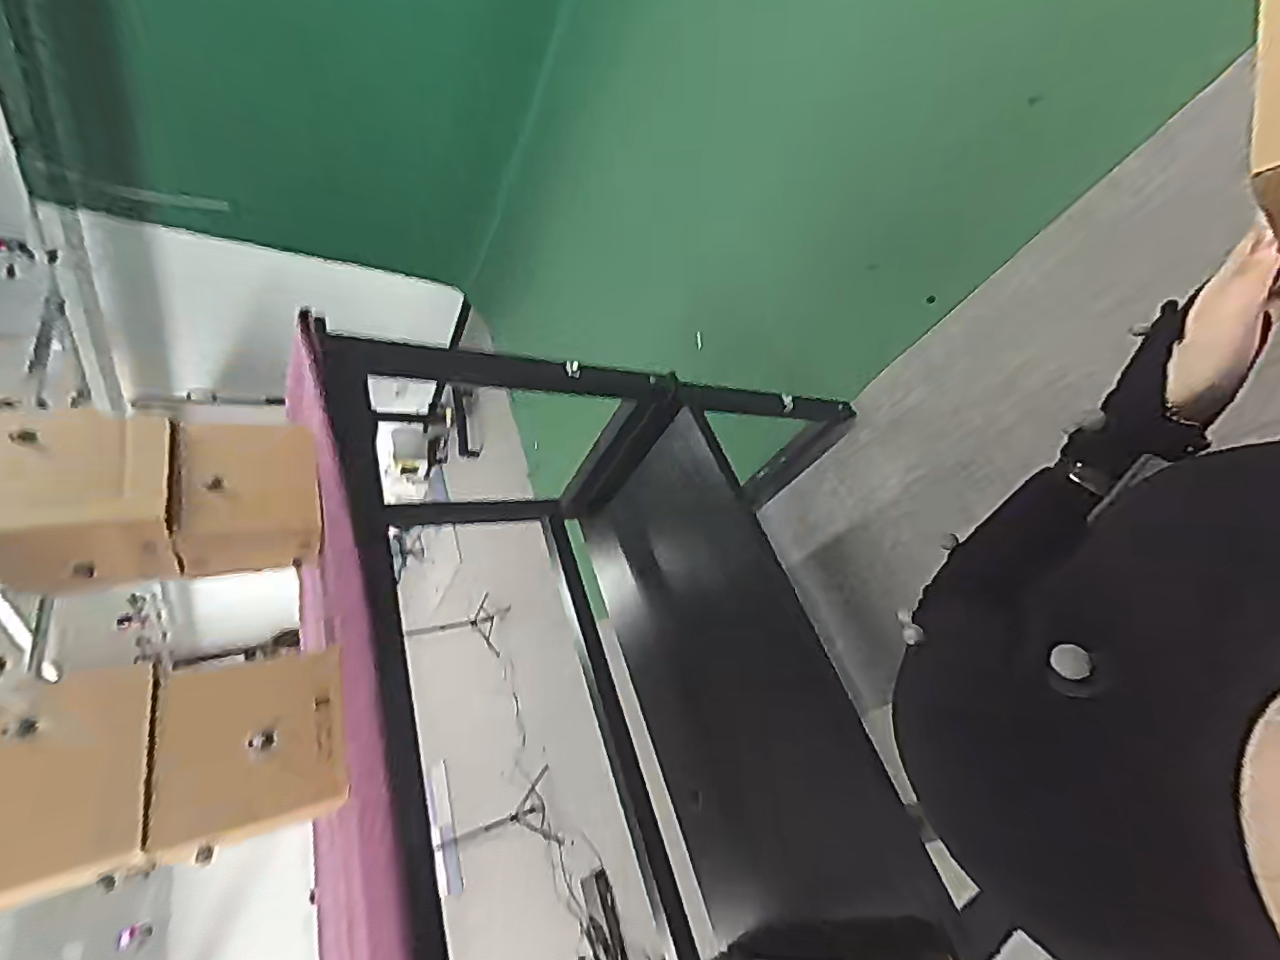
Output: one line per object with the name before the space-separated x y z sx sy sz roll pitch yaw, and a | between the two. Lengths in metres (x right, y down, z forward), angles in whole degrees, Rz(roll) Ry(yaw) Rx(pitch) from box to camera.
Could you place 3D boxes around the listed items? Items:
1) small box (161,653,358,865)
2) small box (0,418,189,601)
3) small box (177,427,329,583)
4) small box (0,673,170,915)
small box | -0.432 0.316 0.626 0.179 0.176 0.168 -48 53 44
small box | -0.696 0.034 0.704 0.168 0.176 0.179 -50 53 44
small box | -0.570 0.034 0.809 0.168 0.176 0.179 -45 56 47
small box | -0.561 0.303 0.529 0.168 0.176 0.179 -49 54 44
